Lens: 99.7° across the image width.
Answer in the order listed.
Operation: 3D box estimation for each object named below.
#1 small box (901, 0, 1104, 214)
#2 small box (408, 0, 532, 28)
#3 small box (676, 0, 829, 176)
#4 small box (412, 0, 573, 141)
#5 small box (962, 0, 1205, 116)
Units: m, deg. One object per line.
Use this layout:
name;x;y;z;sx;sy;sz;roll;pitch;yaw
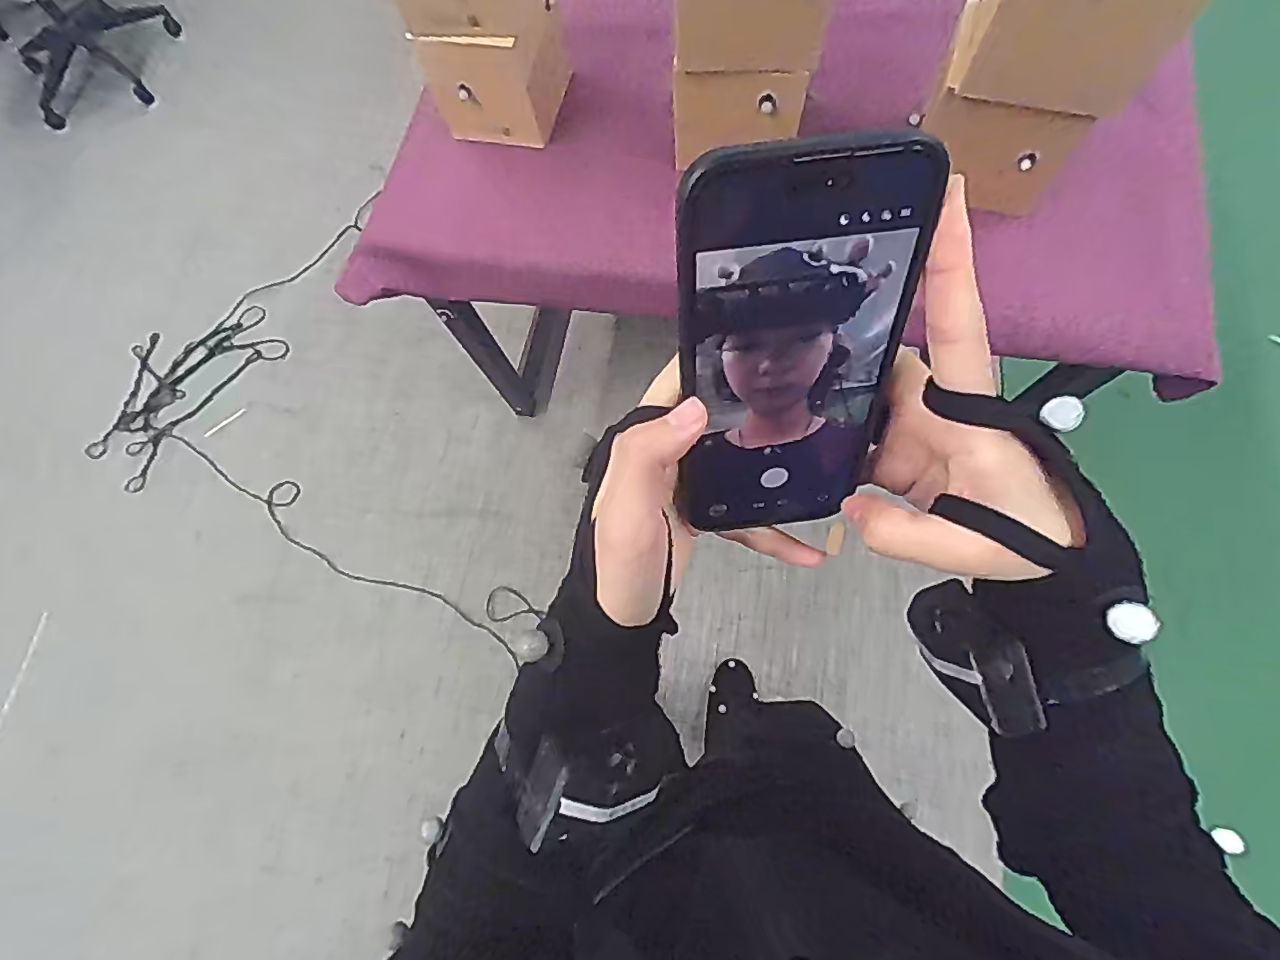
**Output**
small box;0.482;-0.490;0.722;0.179;0.176;0.168;18;76;11
small box;-0.230;-0.725;0.692;0.168;0.176;0.179;8;75;7
small box;0.156;-0.573;0.778;0.179;0.176;0.168;12;75;9
small box;-0.216;-0.671;0.847;0.168;0.176;0.179;12;75;9
small box;0.470;-0.520;0.561;0.179;0.176;0.168;18;76;10
